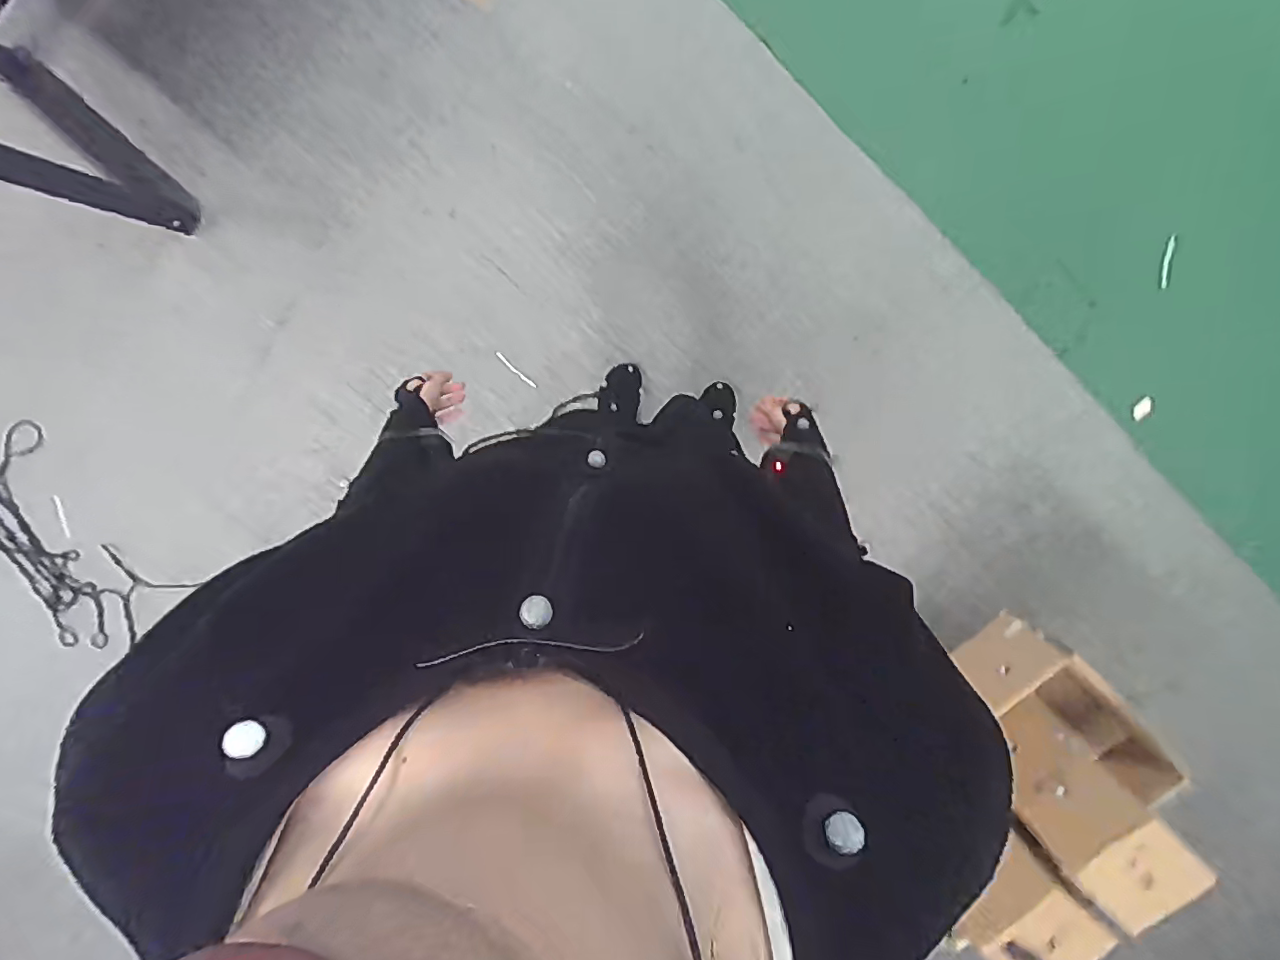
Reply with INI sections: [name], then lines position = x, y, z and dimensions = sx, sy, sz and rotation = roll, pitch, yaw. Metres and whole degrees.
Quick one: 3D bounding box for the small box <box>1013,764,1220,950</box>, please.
[small box]
position = 0.816, 0.647, 0.947
dimensions = 0.168, 0.176, 0.179
rotation = -44, 97, 9
